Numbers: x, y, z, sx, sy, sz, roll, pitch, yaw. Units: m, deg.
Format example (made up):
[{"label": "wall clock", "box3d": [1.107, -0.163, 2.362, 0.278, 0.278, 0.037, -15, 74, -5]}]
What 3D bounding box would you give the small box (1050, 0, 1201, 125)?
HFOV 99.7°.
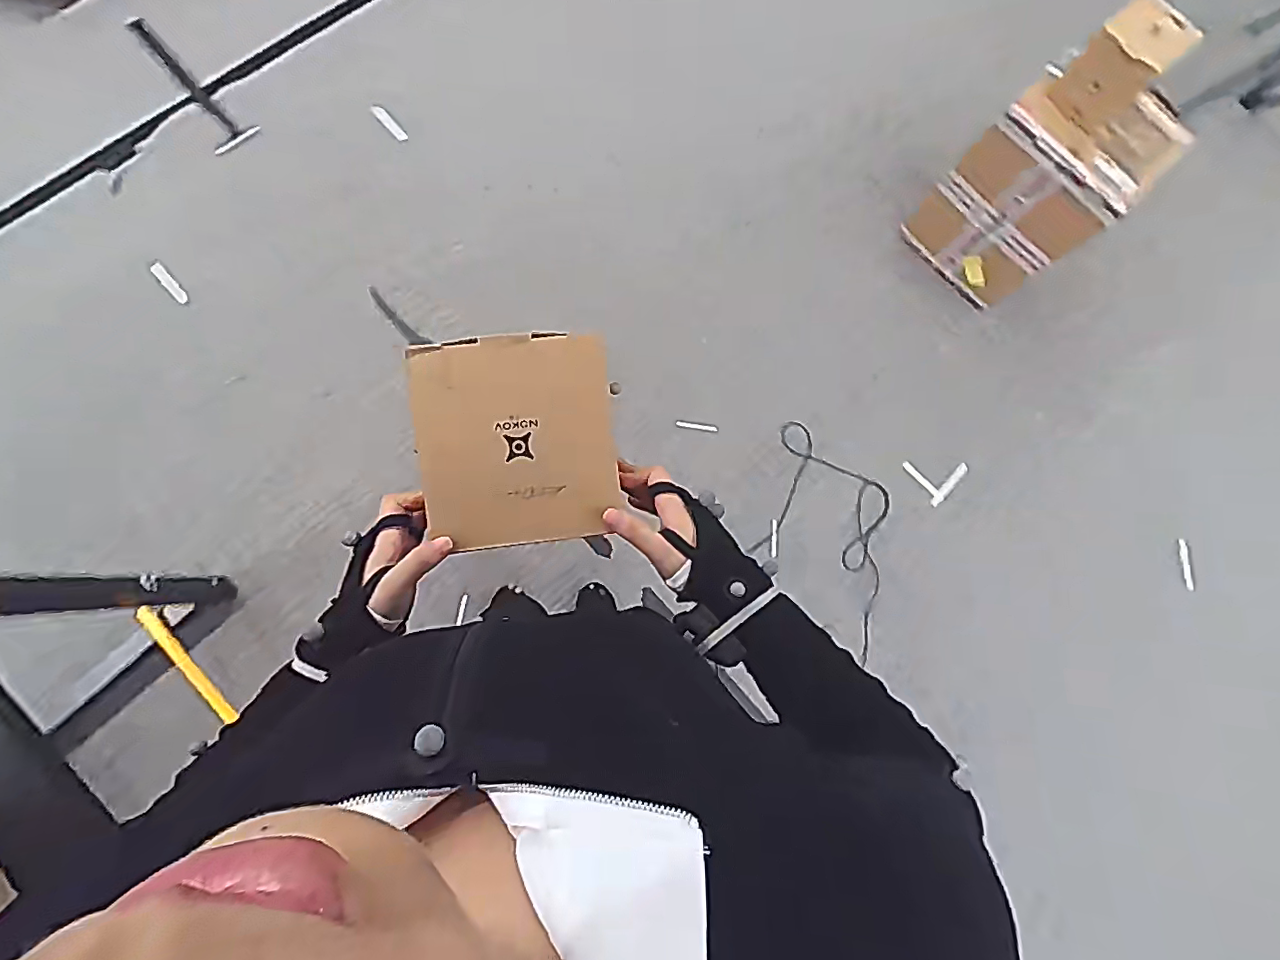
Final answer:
[{"label": "small box", "box3d": [1.119, -0.989, 1.267, 0.179, 0.176, 0.168, -40, 84, -8]}]
